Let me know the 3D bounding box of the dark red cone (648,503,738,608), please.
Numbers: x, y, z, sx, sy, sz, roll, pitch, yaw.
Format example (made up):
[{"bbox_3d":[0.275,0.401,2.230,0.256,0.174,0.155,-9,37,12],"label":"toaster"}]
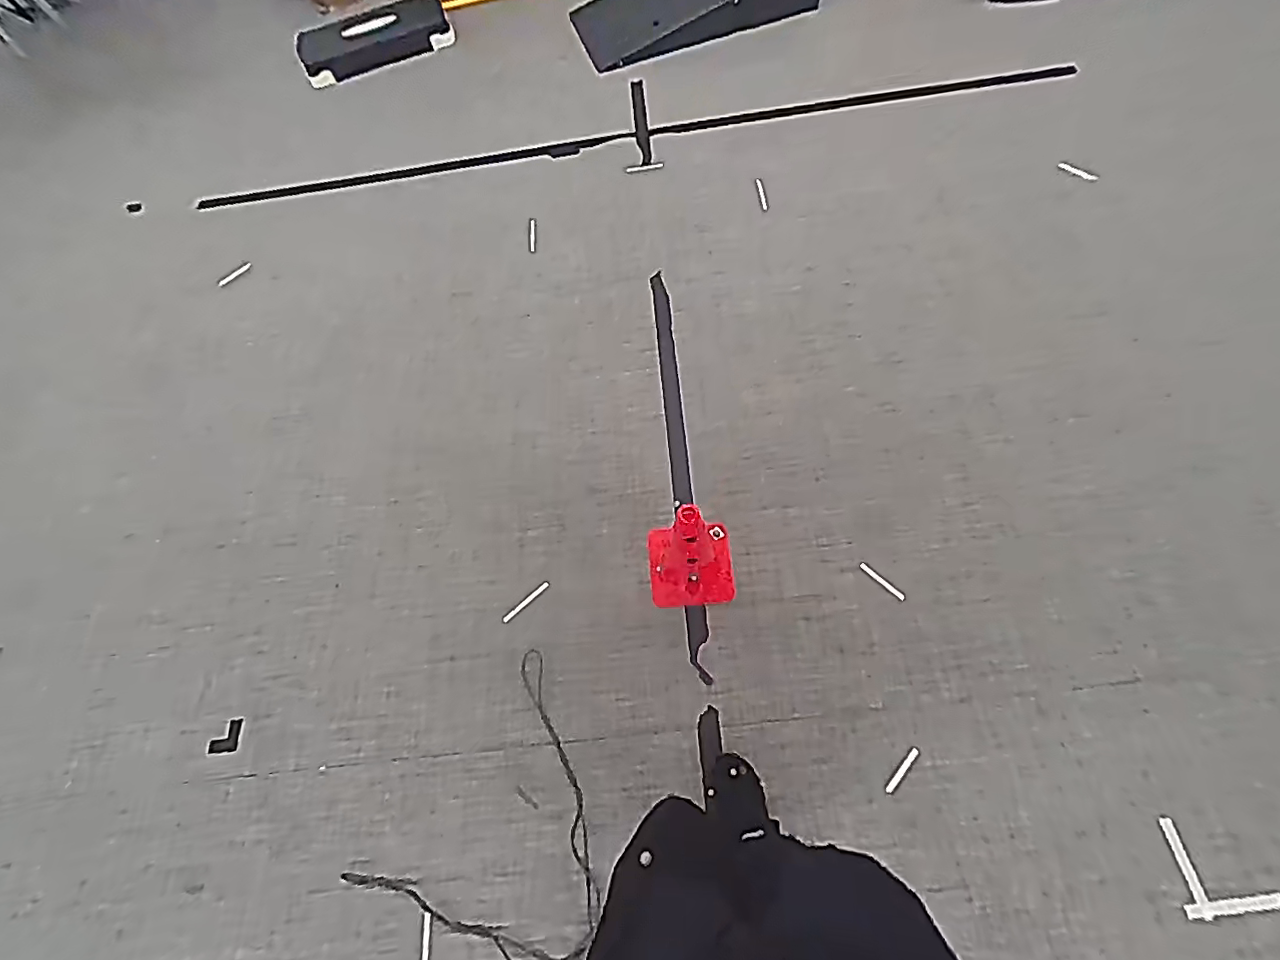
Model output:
[{"bbox_3d":[0.106,0.135,1.152,0.201,0.394,0.202,-8,65,4],"label":"dark red cone"}]
